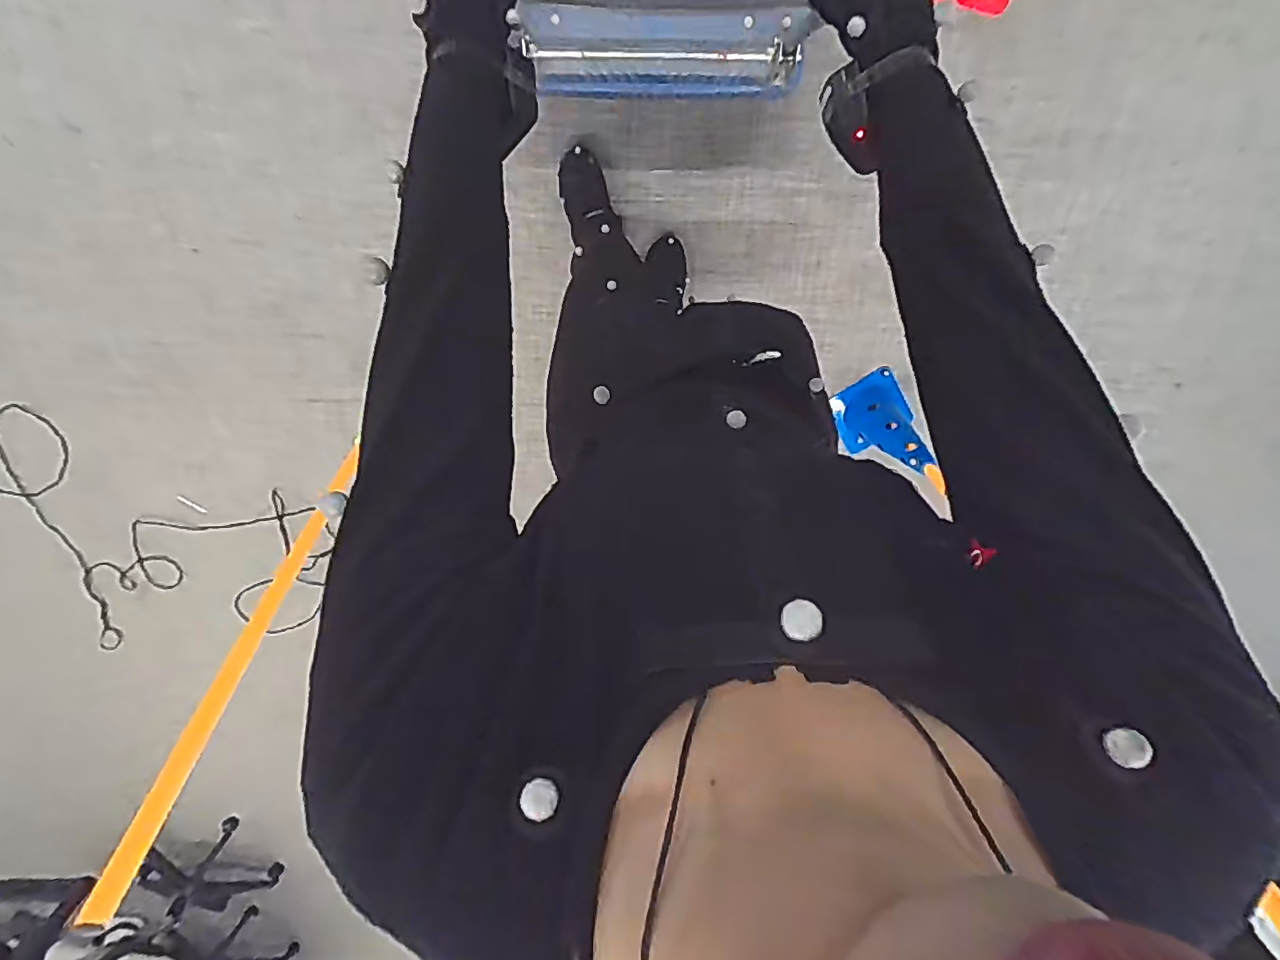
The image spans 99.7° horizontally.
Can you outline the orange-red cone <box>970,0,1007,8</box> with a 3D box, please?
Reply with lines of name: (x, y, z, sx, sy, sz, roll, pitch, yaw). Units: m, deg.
orange-red cone: (0.670, -0.983, 0.901, 0.198, 0.360, 0.199, 11, 118, -5)
